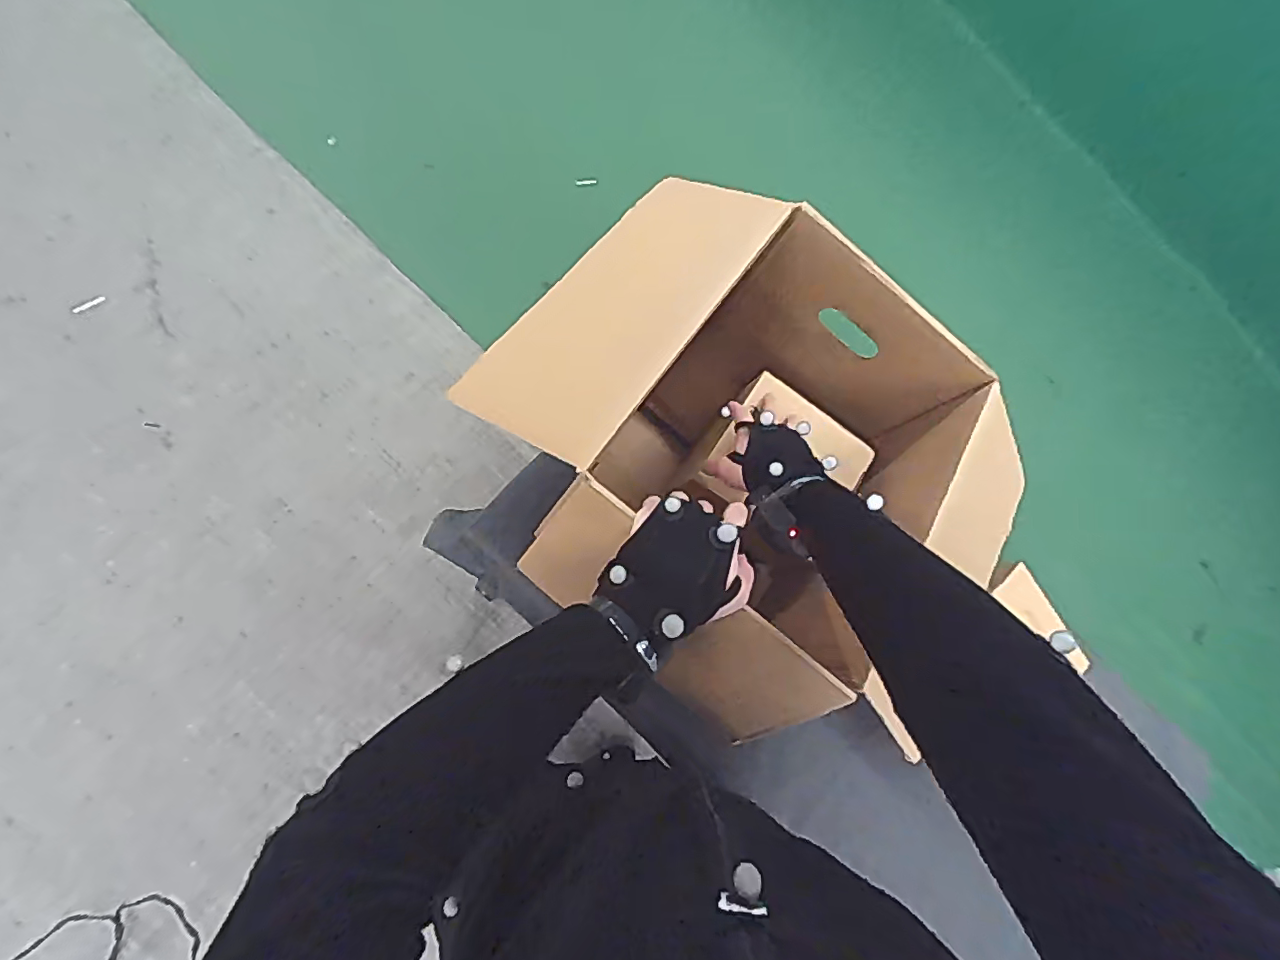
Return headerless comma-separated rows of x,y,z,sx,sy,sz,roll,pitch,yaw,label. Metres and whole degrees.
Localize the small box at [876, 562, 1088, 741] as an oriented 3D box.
0.477,0.240,0.782,0.179,0.176,0.168,-30,87,-24,small box
